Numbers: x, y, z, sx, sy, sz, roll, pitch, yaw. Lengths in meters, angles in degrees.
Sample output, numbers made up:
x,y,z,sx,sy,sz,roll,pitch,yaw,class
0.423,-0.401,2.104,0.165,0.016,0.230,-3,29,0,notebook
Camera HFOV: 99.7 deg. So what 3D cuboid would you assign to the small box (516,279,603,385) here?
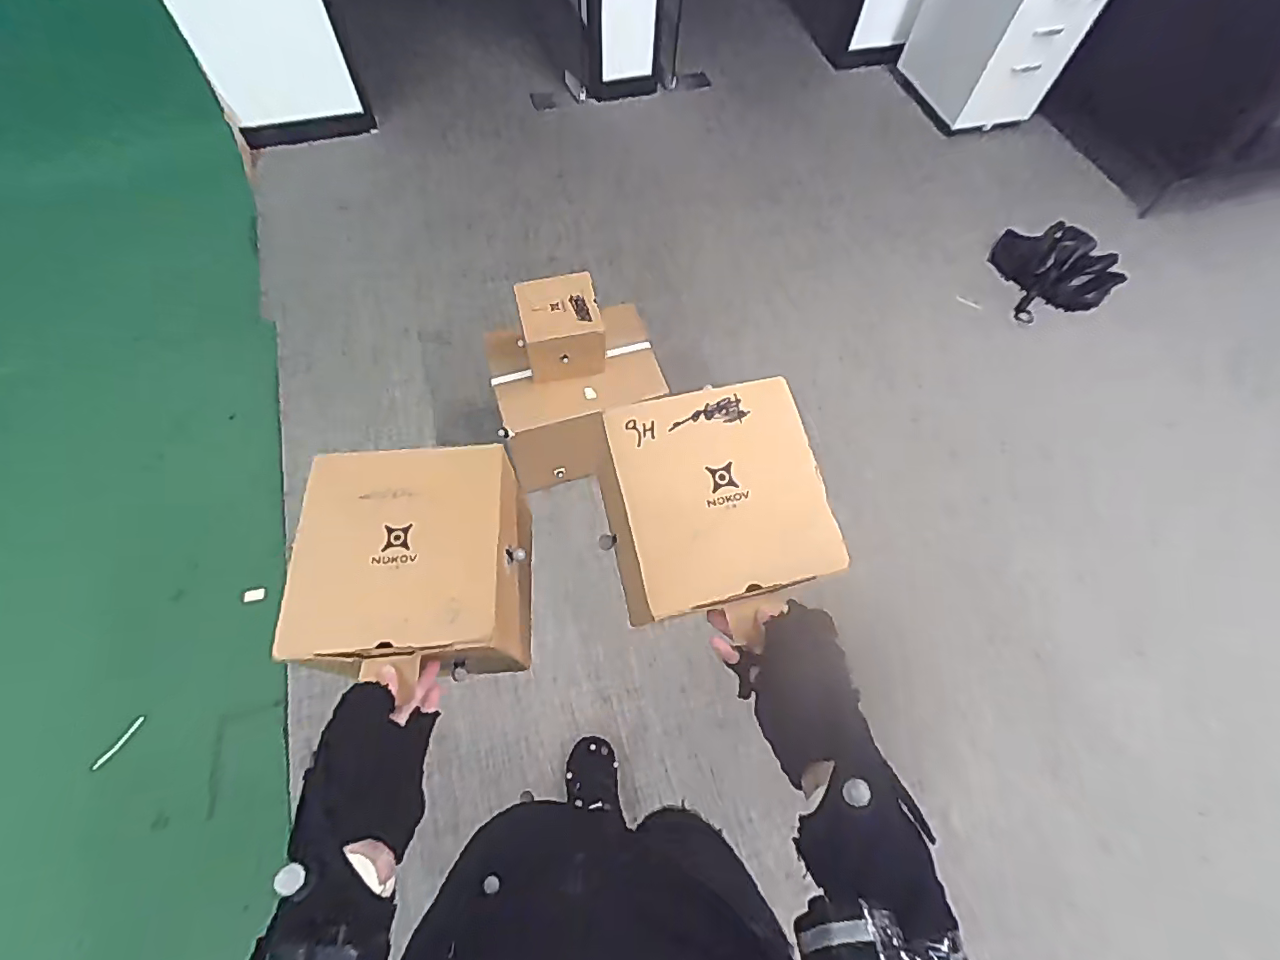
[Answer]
x,y,z,sx,sy,sz,roll,pitch,yaw,class
-0.187,-0.342,1.267,0.179,0.176,0.168,-9,68,-9,small box
